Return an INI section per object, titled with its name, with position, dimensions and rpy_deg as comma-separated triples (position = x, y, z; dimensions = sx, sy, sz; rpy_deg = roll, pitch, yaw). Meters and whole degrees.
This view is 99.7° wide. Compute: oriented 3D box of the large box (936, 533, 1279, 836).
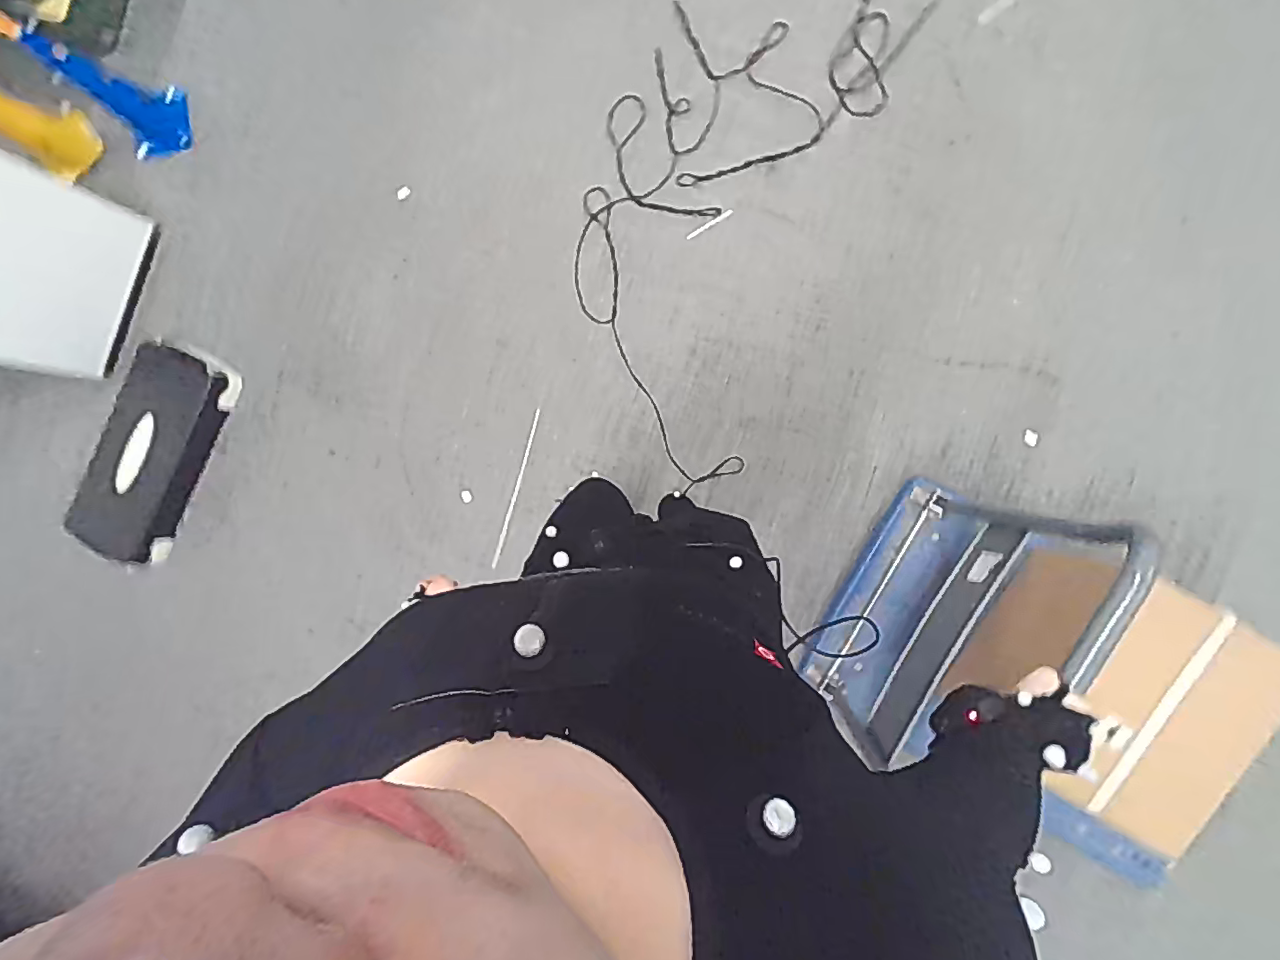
[large box]
position = 0.889, 0.365, 1.077
dimensions = 0.320, 0.320, 0.408
rpy_deg = 31, 95, 7
